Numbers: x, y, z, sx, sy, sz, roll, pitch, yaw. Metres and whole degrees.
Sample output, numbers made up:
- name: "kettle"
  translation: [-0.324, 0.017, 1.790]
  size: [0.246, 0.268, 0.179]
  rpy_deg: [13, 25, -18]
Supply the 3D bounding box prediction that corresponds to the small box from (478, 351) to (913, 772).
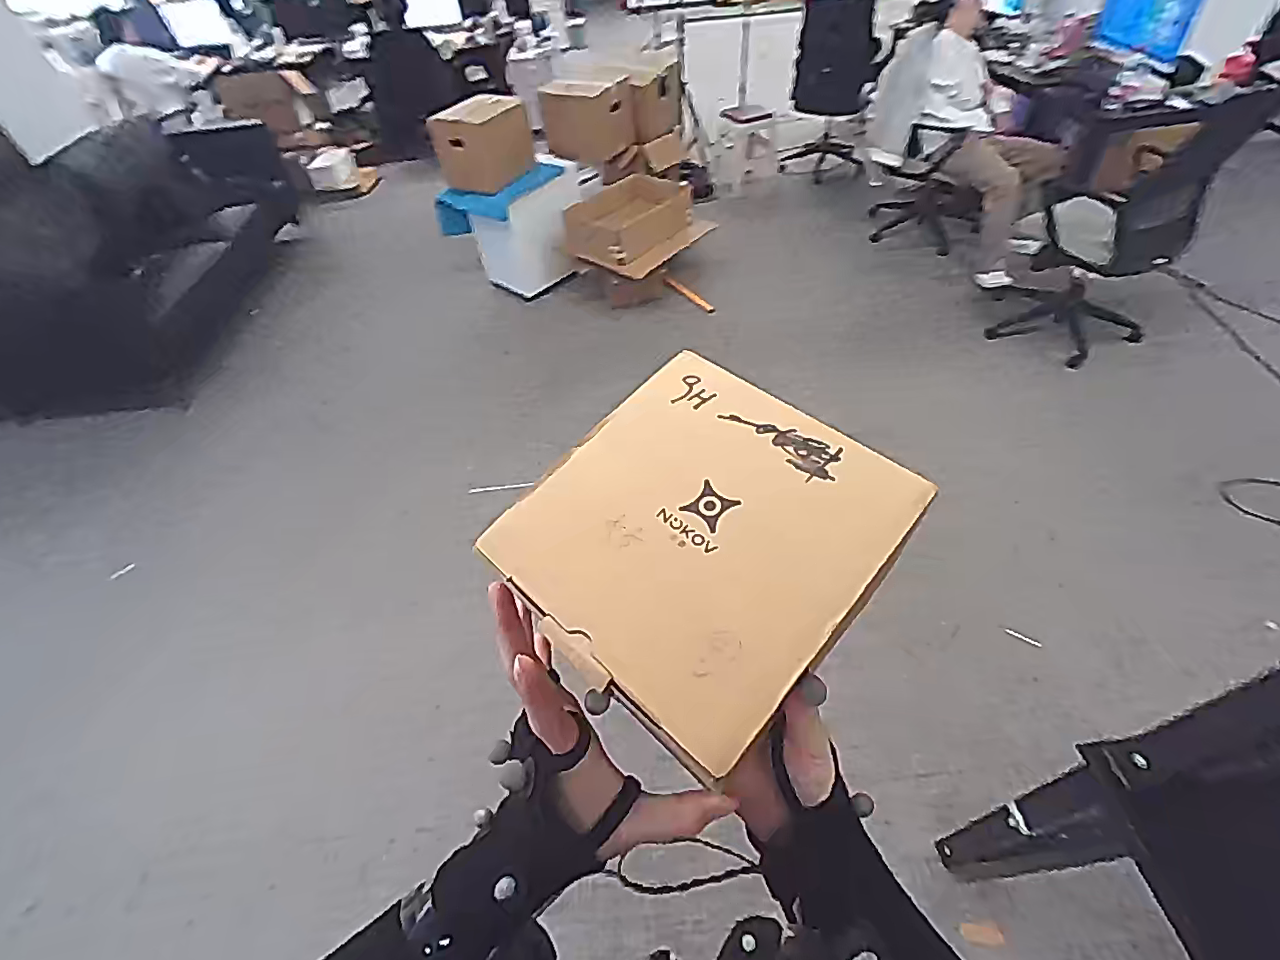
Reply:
- name: "small box"
  translation: [0.037, 0.058, 0.350]
  size: [0.168, 0.176, 0.179]
  rpy_deg: [35, 69, 26]
